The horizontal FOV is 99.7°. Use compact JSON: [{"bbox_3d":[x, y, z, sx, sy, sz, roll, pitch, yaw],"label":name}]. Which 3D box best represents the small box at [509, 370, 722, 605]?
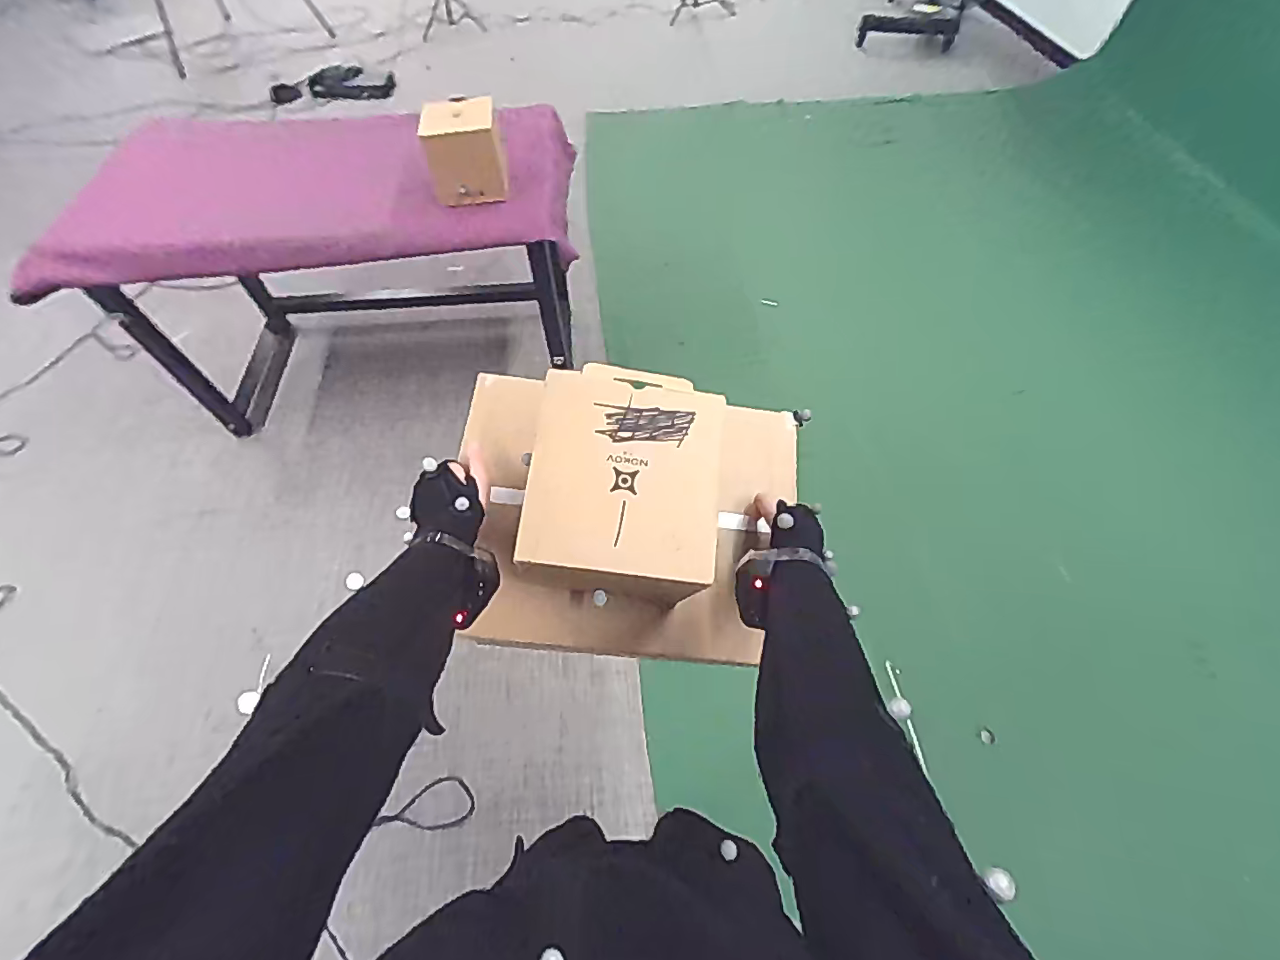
[{"bbox_3d":[-0.024,0.019,0.532,0.168,0.176,0.179,8,72,-4],"label":"small box"}]

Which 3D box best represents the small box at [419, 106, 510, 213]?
[{"bbox_3d":[-0.419,-0.779,1.318,0.168,0.176,0.179,-8,55,-3],"label":"small box"}]
